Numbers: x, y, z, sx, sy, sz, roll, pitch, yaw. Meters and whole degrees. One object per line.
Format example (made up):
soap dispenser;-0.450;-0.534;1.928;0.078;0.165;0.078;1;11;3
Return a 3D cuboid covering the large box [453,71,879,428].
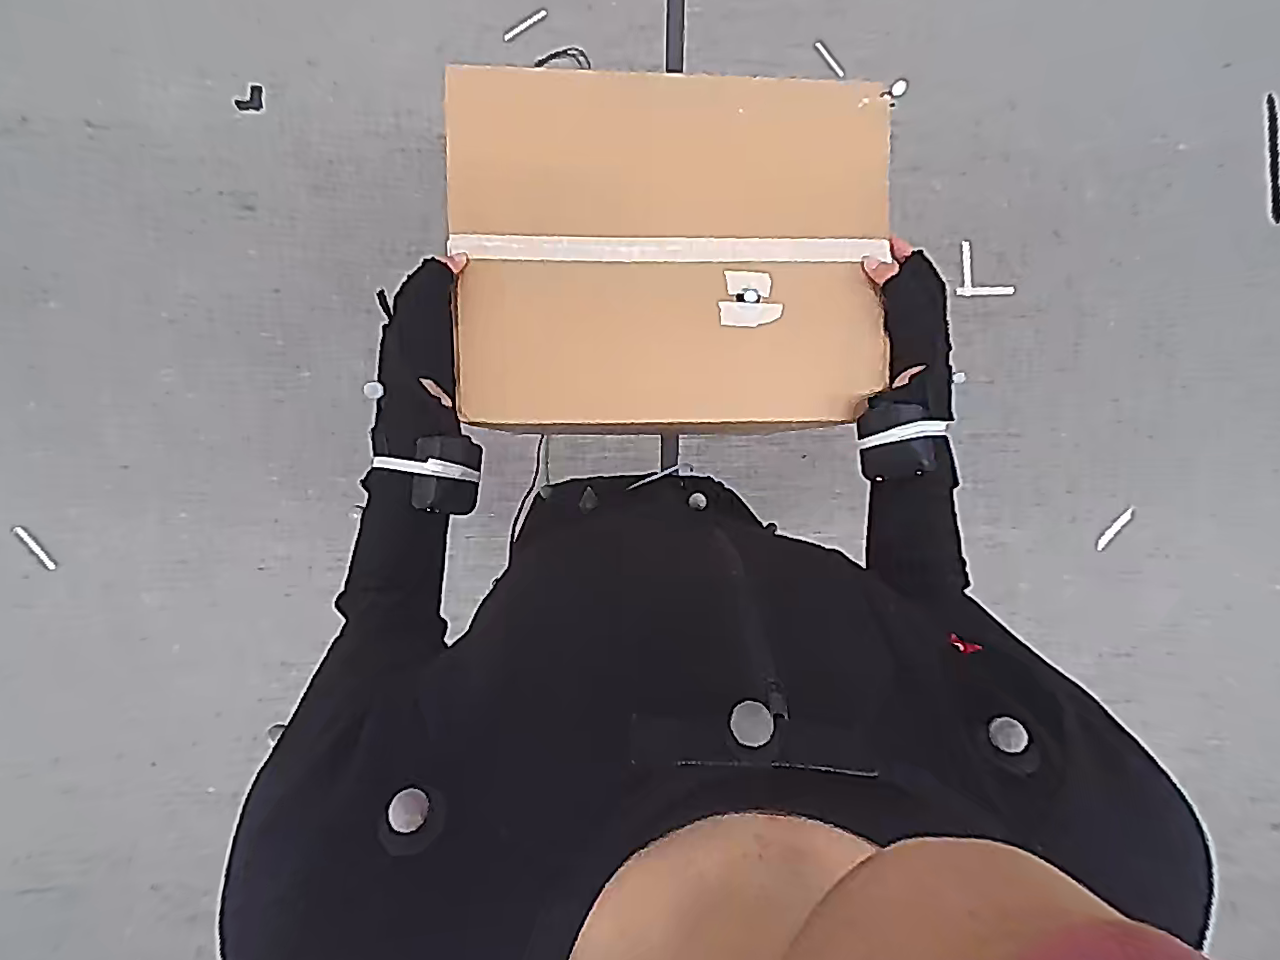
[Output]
large box;0.018;-0.228;0.657;0.408;0.320;0.320;-1;95;-5
